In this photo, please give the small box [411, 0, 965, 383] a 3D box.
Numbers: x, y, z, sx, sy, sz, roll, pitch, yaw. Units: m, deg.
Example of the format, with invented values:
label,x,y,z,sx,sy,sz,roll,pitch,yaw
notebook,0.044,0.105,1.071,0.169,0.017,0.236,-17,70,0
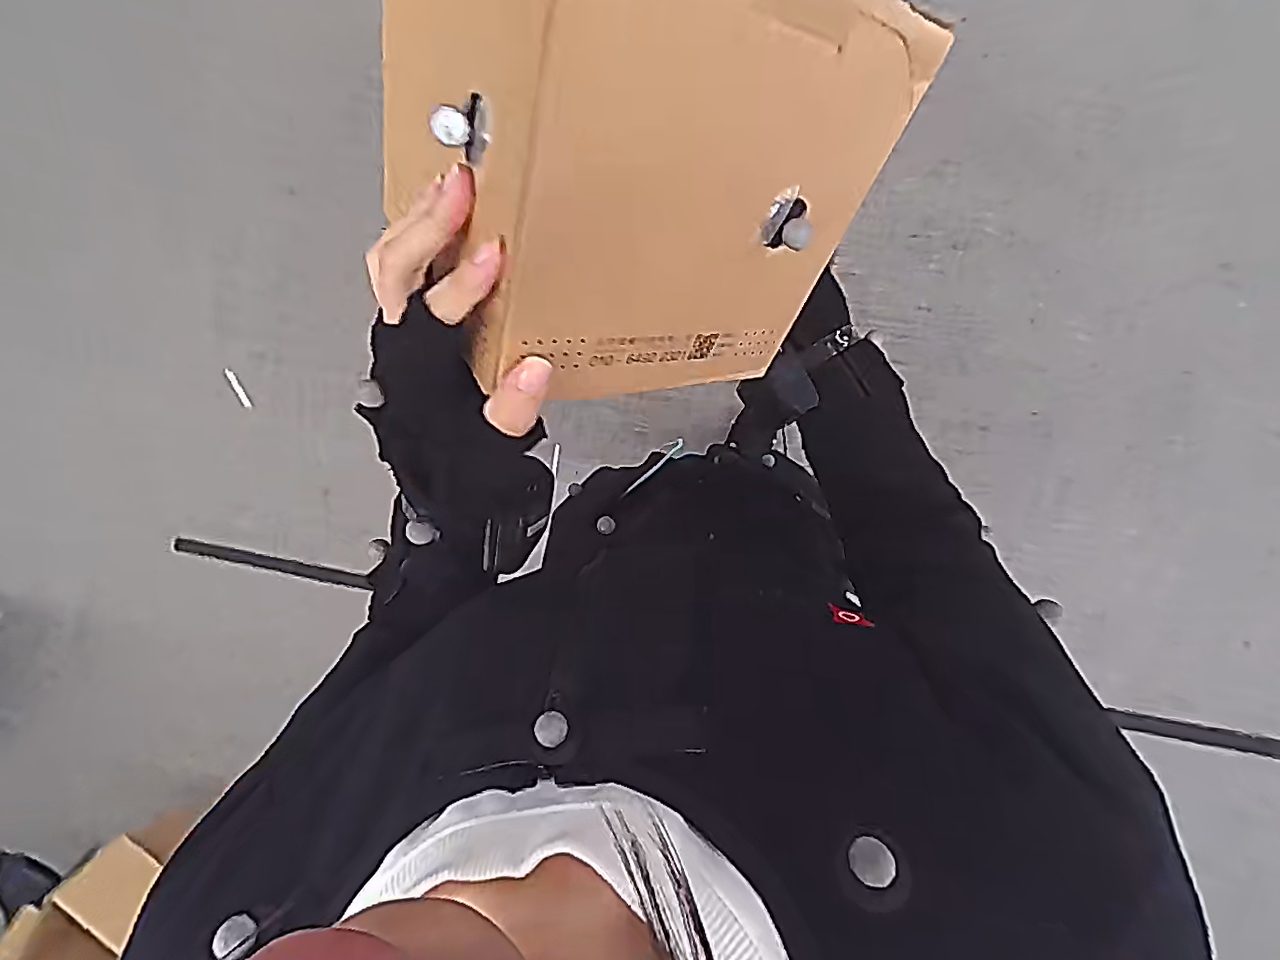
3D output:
label,x,y,z,sx,sy,sz,roll,pitch,yaw
small box,-0.005,-0.160,0.261,0.179,0.168,0.176,58,142,31
